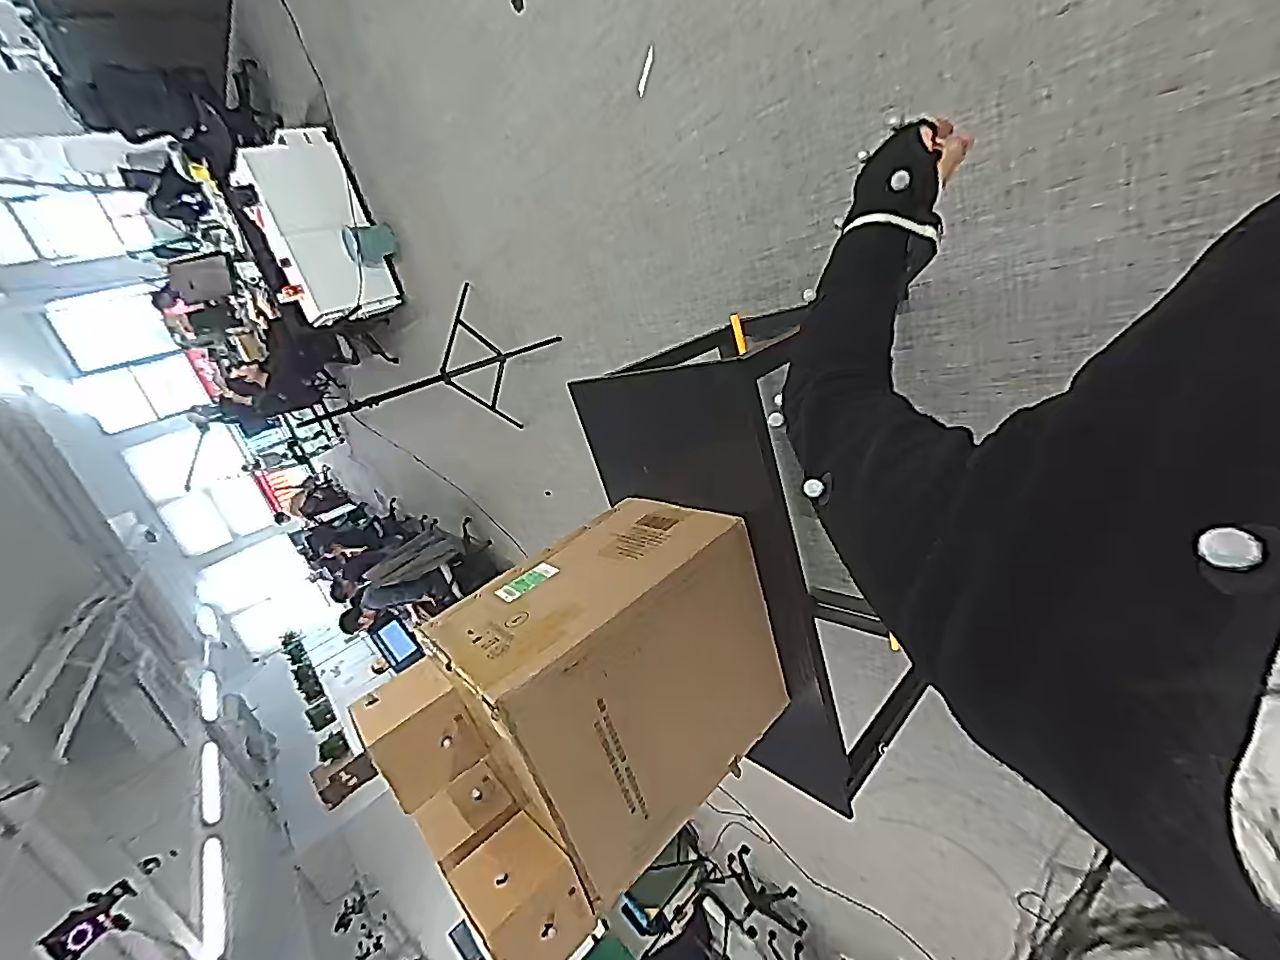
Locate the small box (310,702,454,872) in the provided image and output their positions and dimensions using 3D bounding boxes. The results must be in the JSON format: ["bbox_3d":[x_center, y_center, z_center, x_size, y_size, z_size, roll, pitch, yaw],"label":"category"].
[{"bbox_3d":[-0.461,0.536,0.976,0.179,0.176,0.168,6,122,53],"label":"small box"}]

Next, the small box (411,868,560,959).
[{"bbox_3d":[-0.243,0.802,0.898,0.179,0.176,0.168,-2,111,50],"label":"small box"}]

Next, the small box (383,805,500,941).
[{"bbox_3d":[-0.369,0.795,1.060,0.168,0.176,0.179,8,121,51],"label":"small box"}]
